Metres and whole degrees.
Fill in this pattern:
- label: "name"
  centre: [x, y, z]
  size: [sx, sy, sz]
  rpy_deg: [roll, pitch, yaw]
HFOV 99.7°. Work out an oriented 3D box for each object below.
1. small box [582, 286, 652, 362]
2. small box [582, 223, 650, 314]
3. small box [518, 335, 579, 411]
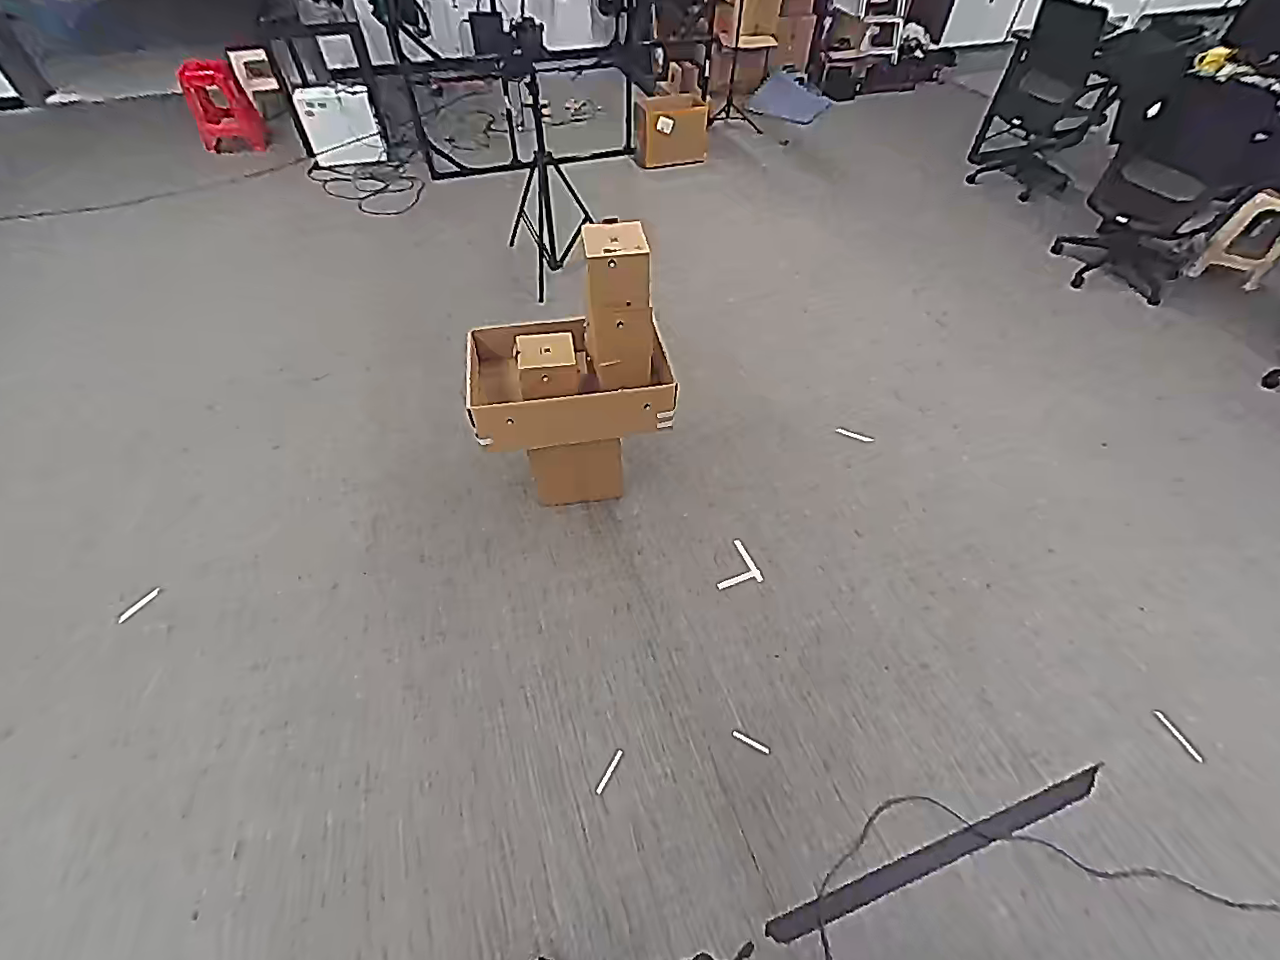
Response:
- label: "small box"
  centre: [-0.065, -0.470, 1.604]
  size: [0.179, 0.176, 0.168]
  rpy_deg: [-11, 52, -9]
- label: "small box"
  centre: [-0.066, -0.577, 1.480]
  size: [0.168, 0.176, 0.179]
  rpy_deg: [-7, 50, -4]
- label: "small box"
  centre: [-0.286, -0.335, 1.705]
  size: [0.179, 0.176, 0.168]
  rpy_deg: [-7, 51, -7]
